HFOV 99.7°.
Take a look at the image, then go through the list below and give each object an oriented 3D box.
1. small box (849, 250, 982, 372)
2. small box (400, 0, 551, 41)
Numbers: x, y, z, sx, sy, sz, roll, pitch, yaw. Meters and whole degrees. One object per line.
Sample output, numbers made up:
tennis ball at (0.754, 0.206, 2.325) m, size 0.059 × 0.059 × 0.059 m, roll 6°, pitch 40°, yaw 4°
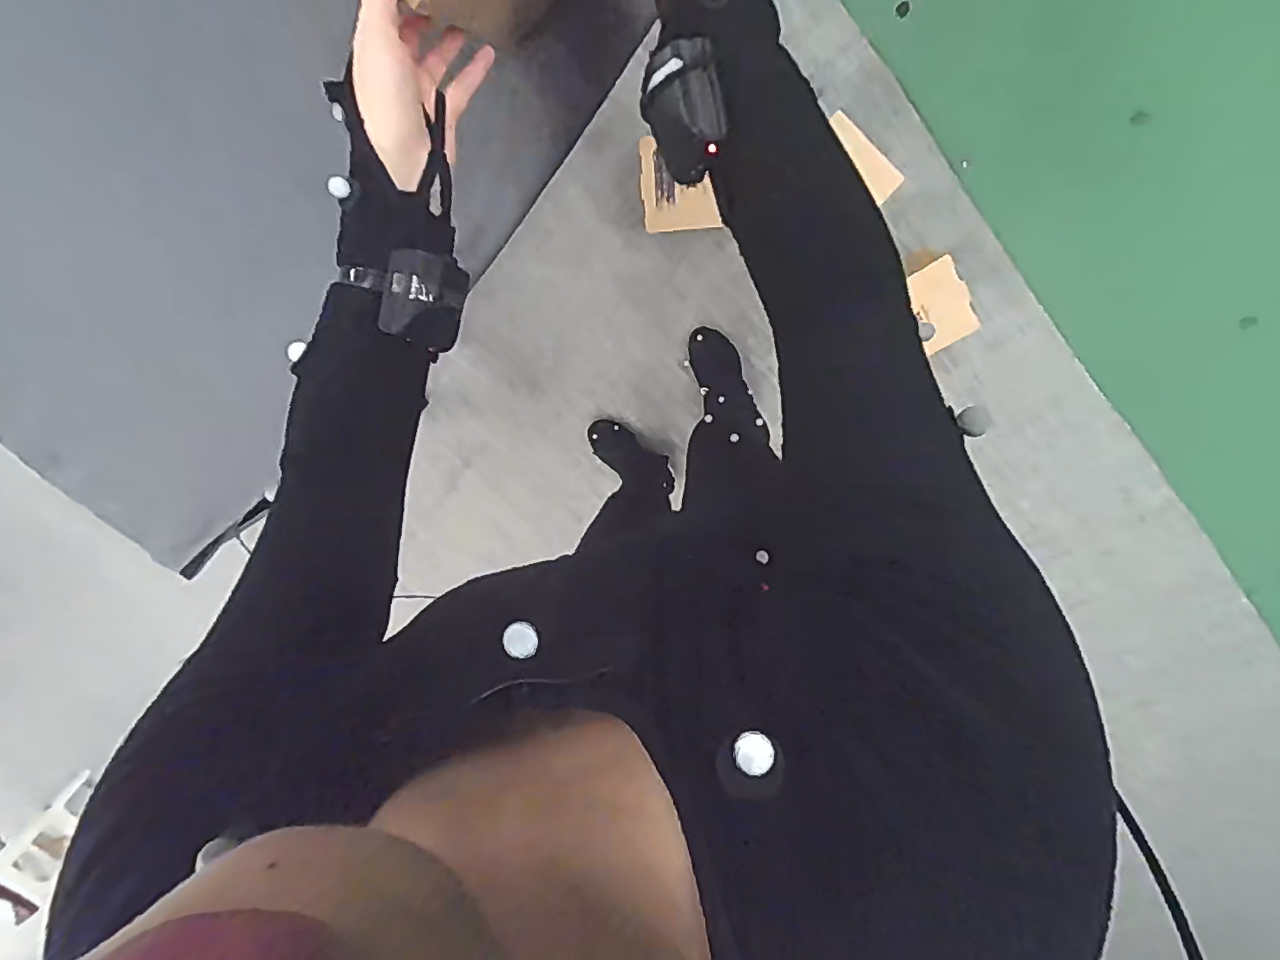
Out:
small box at (0.565, -0.358, 1.130) m, size 0.179 × 0.176 × 0.168 m, roll -29°, pitch 109°, yaw 21°
small box at (-0.113, -0.439, 0.352) m, size 0.179 × 0.176 × 0.168 m, roll -29°, pitch 112°, yaw 29°
